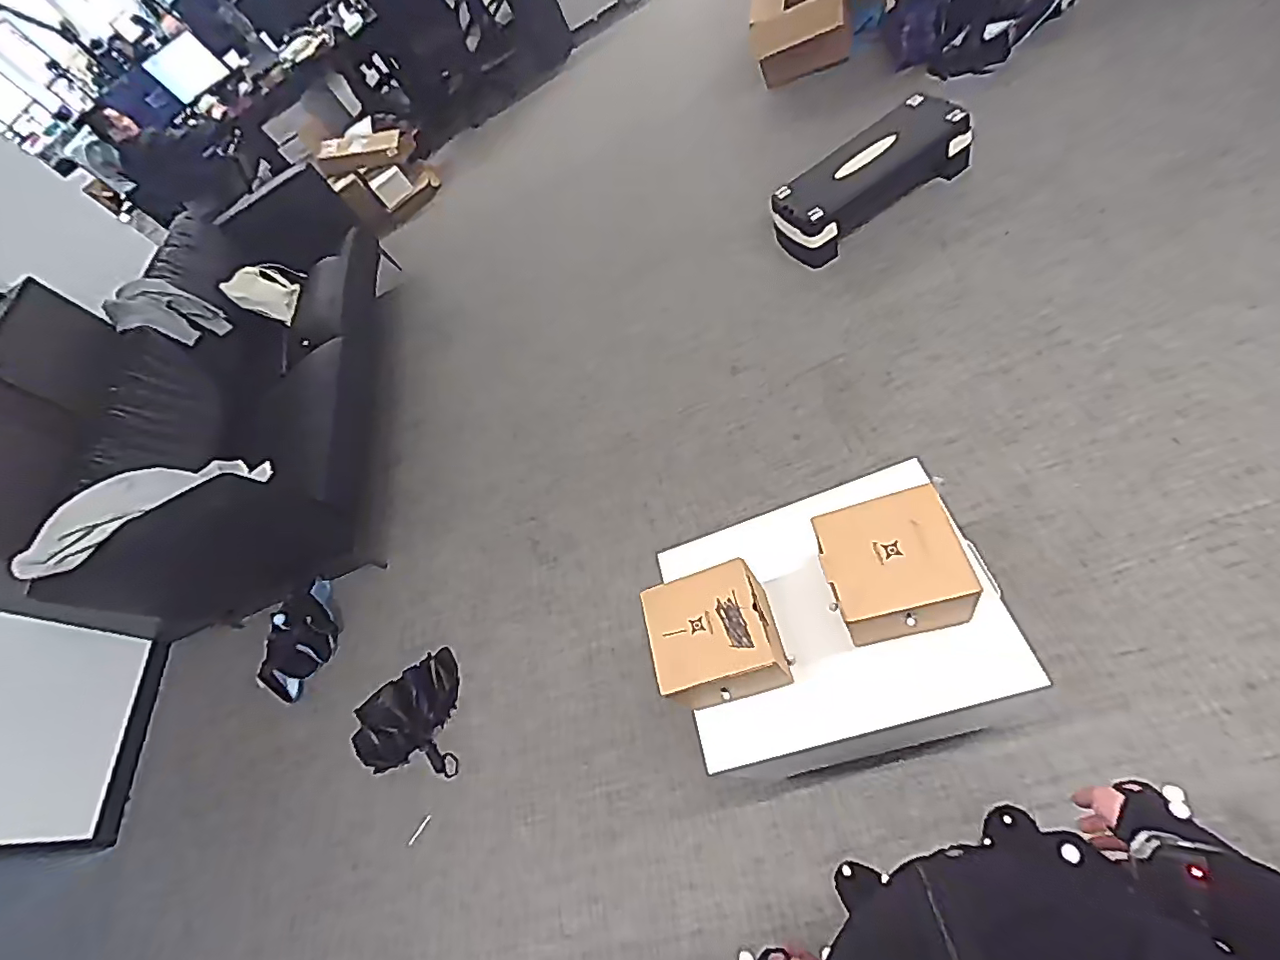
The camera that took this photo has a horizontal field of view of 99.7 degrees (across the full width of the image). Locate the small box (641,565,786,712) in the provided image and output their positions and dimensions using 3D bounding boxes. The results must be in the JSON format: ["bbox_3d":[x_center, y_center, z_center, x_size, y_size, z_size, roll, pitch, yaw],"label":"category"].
[{"bbox_3d":[0.123,0.260,0.867,0.179,0.176,0.168,-22,54,14],"label":"small box"}]

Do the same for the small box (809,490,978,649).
[{"bbox_3d":[0.375,0.143,0.813,0.179,0.176,0.168,-19,57,15],"label":"small box"}]
